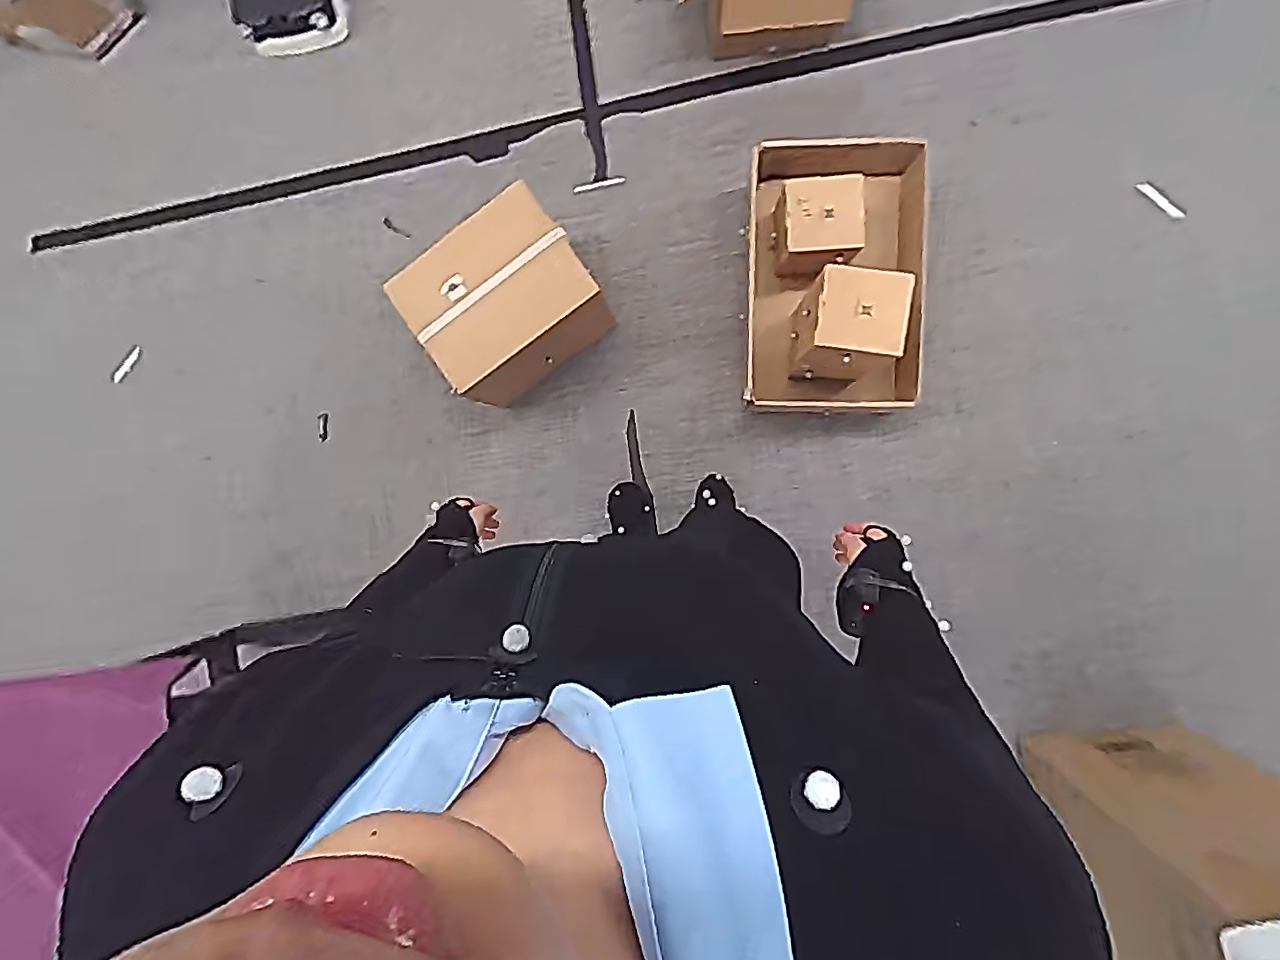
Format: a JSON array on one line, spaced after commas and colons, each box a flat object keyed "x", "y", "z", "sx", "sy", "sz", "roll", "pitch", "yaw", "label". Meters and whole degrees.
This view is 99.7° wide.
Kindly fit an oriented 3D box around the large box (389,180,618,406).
[{"x": -0.315, "y": -0.435, "z": 1.357, "sx": 0.408, "sy": 0.320, "sz": 0.320, "roll": -35, "pitch": 88, "yaw": 6, "label": "large box"}]
